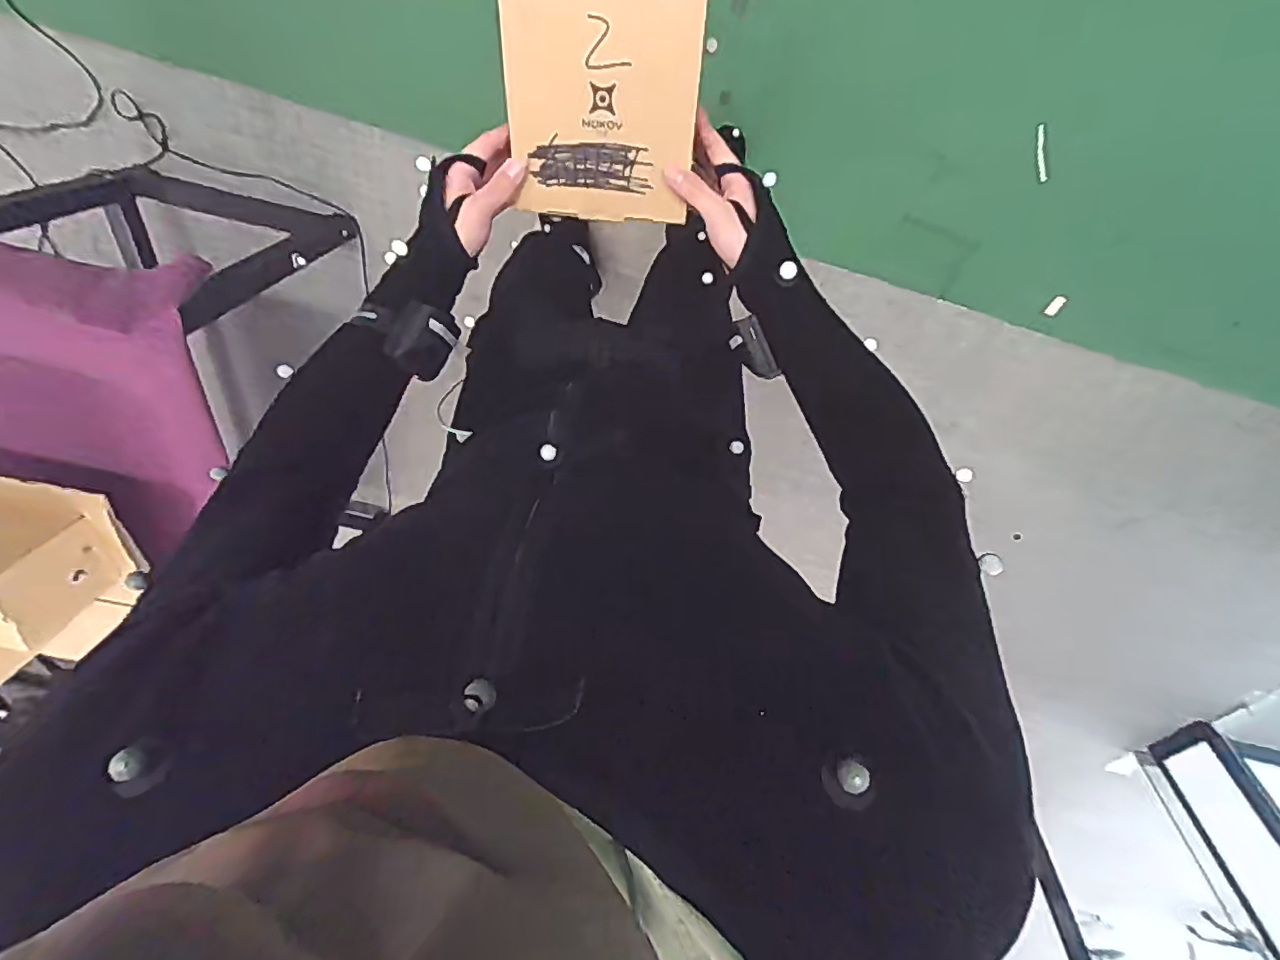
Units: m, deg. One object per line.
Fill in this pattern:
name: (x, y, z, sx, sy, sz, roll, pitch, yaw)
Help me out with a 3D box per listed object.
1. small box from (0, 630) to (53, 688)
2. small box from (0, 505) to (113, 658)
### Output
small box: (-1.267, 0.284, 1.003, 0.179, 0.176, 0.168, 12, 126, -2)
small box: (-1.046, 0.159, 0.887, 0.179, 0.176, 0.168, 12, 127, -3)
